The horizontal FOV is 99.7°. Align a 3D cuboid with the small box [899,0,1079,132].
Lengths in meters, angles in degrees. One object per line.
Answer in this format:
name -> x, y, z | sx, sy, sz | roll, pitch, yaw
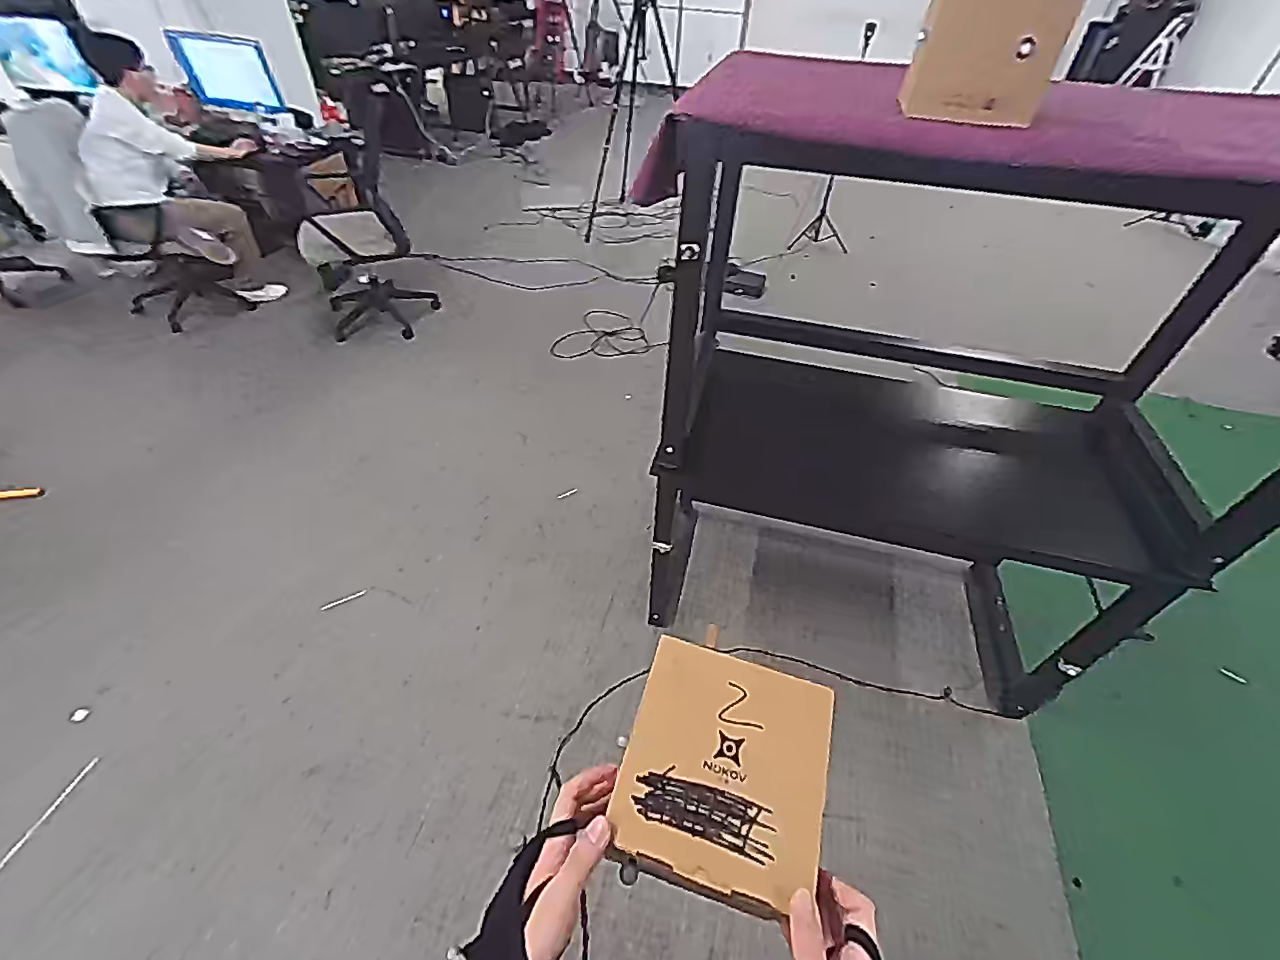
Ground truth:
small box -> 0.489, -0.619, 0.778 | 0.168, 0.176, 0.179 | 14, 44, 10
